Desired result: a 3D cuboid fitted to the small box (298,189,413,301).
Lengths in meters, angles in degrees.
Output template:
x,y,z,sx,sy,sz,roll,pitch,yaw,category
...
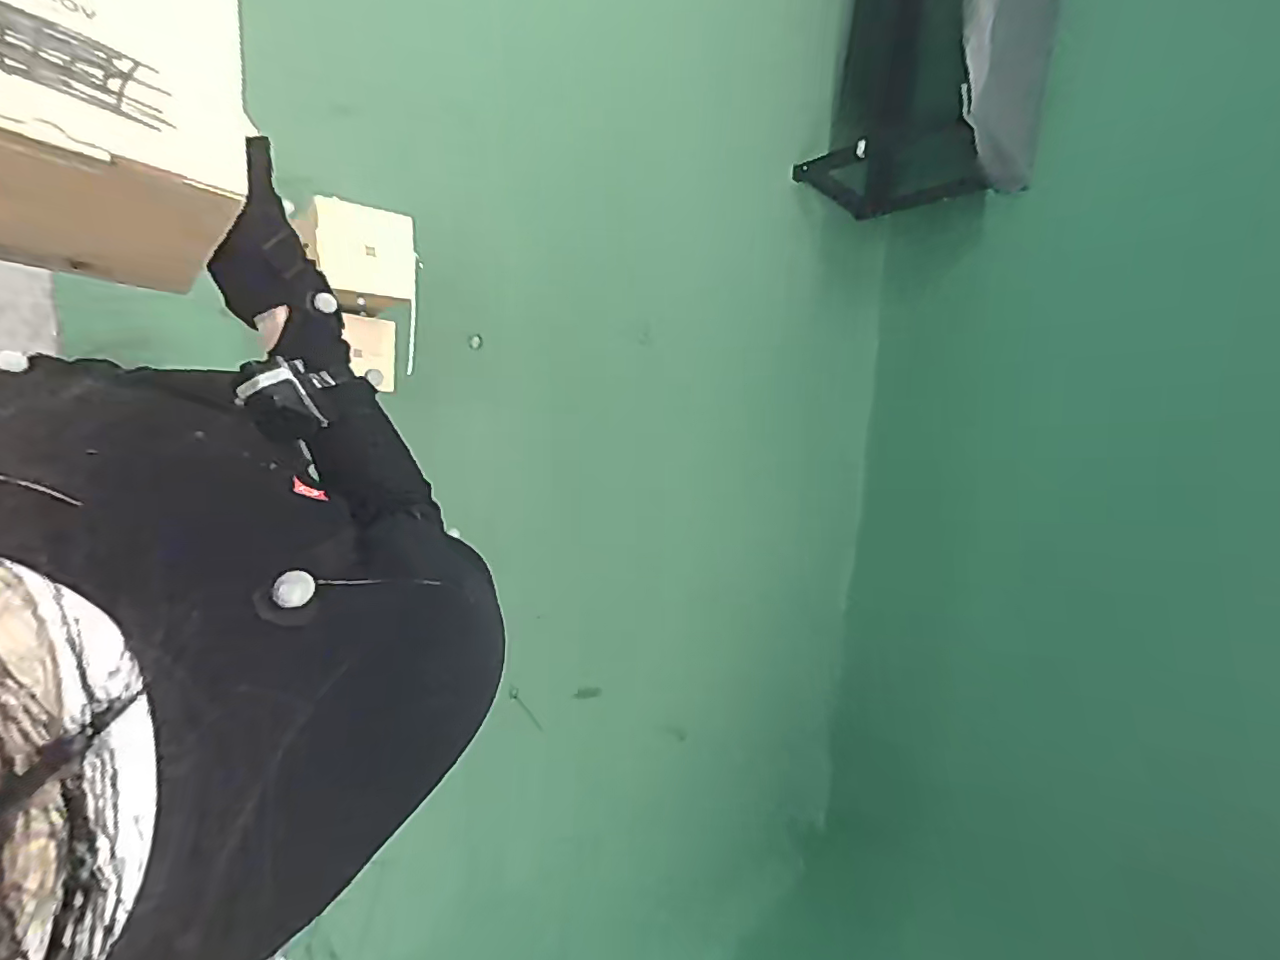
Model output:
x,y,z,sx,sy,sz,roll,pitch,yaw,category
-0.586,-0.471,1.115,0.179,0.176,0.168,-5,101,-39,small box
